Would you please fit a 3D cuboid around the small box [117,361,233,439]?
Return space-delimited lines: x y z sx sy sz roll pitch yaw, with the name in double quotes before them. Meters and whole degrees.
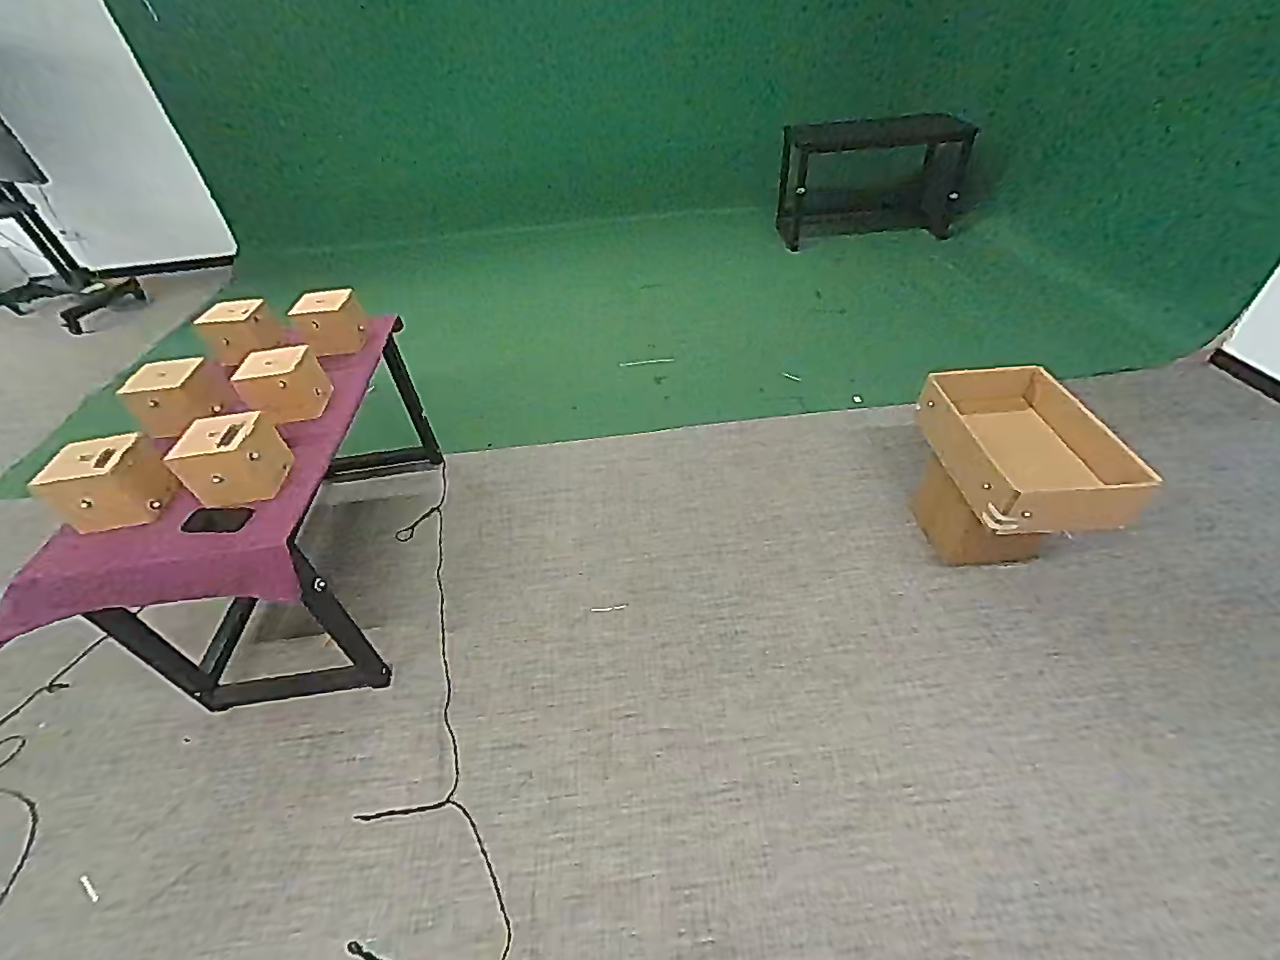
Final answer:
"small box" -1.399 -0.239 1.642 0.179 0.176 0.168 -7 43 -3

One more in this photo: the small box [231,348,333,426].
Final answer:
"small box" -1.084 -0.280 1.652 0.179 0.176 0.168 -9 42 -3

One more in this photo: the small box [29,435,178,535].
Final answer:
"small box" -1.325 0.014 1.356 0.179 0.176 0.168 -10 42 -5

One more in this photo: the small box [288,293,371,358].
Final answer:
"small box" -1.108 -0.553 1.945 0.179 0.176 0.168 -6 44 0

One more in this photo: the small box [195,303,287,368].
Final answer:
"small box" -1.424 -0.517 1.944 0.179 0.176 0.168 -6 43 0
